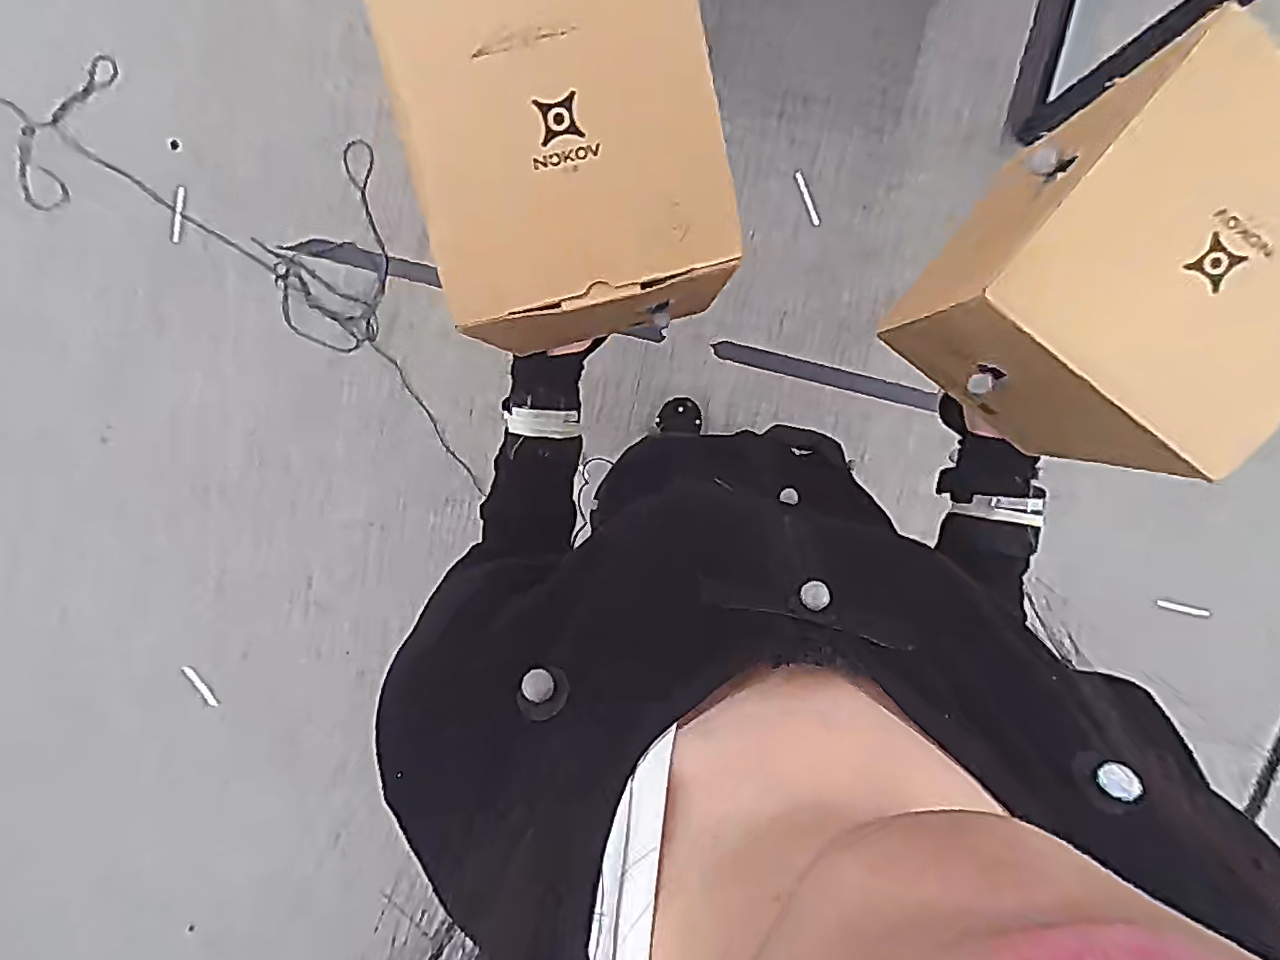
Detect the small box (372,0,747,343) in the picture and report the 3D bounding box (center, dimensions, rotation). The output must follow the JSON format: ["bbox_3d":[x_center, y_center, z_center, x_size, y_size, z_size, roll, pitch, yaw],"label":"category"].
[{"bbox_3d":[-0.039,-0.196,0.361,0.168,0.176,0.179,-14,97,0],"label":"small box"}]

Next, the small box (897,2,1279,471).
[{"bbox_3d":[0.303,-0.128,0.356,0.168,0.176,0.179,38,98,-1],"label":"small box"}]
